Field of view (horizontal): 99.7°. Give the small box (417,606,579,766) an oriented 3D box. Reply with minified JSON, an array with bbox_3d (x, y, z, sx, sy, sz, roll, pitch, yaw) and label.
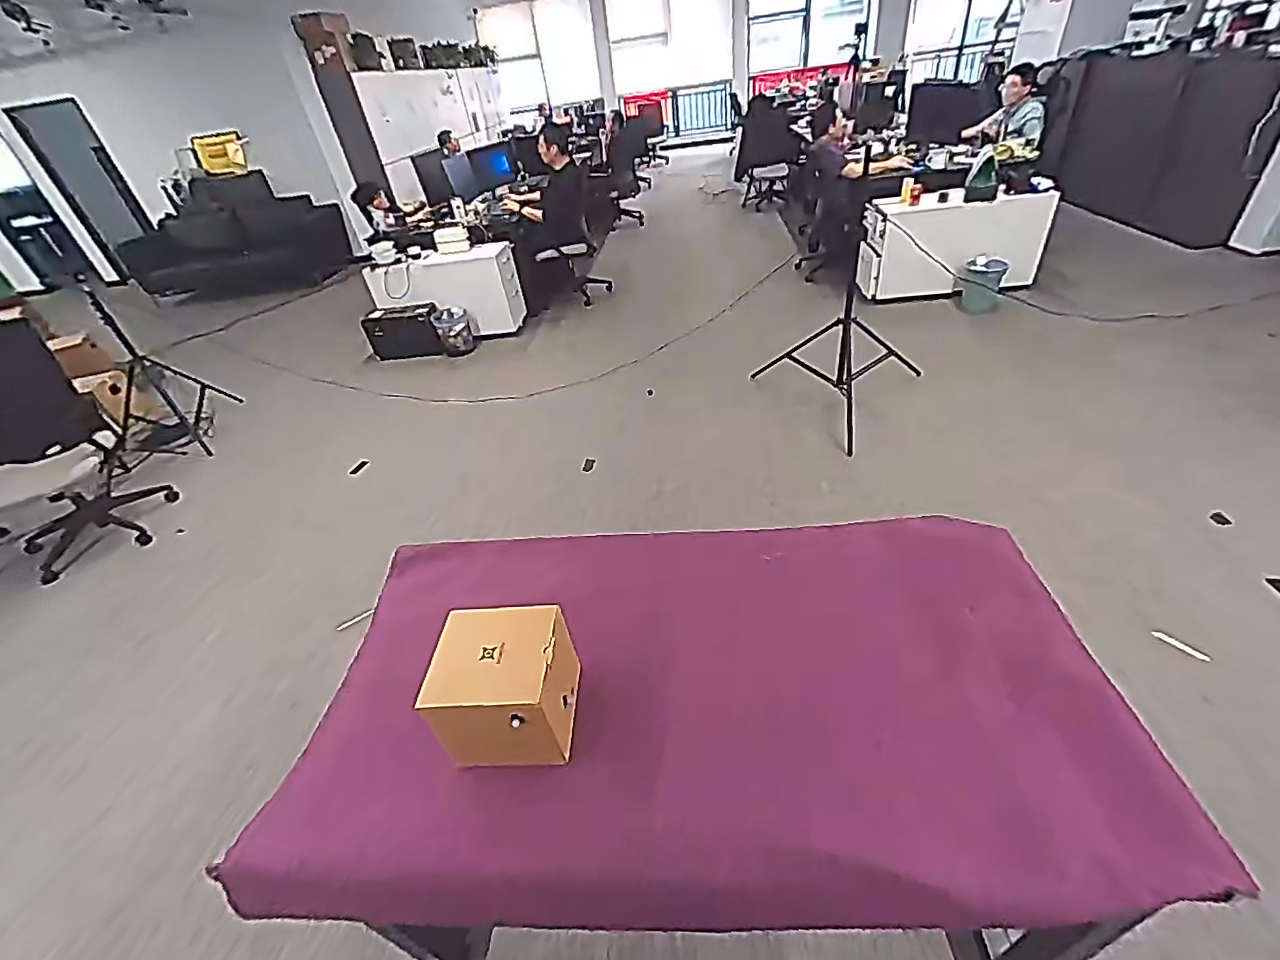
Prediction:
[{"bbox_3d":[-0.200,0.314,0.820,0.179,0.176,0.168,-5,37,5],"label":"small box"}]
